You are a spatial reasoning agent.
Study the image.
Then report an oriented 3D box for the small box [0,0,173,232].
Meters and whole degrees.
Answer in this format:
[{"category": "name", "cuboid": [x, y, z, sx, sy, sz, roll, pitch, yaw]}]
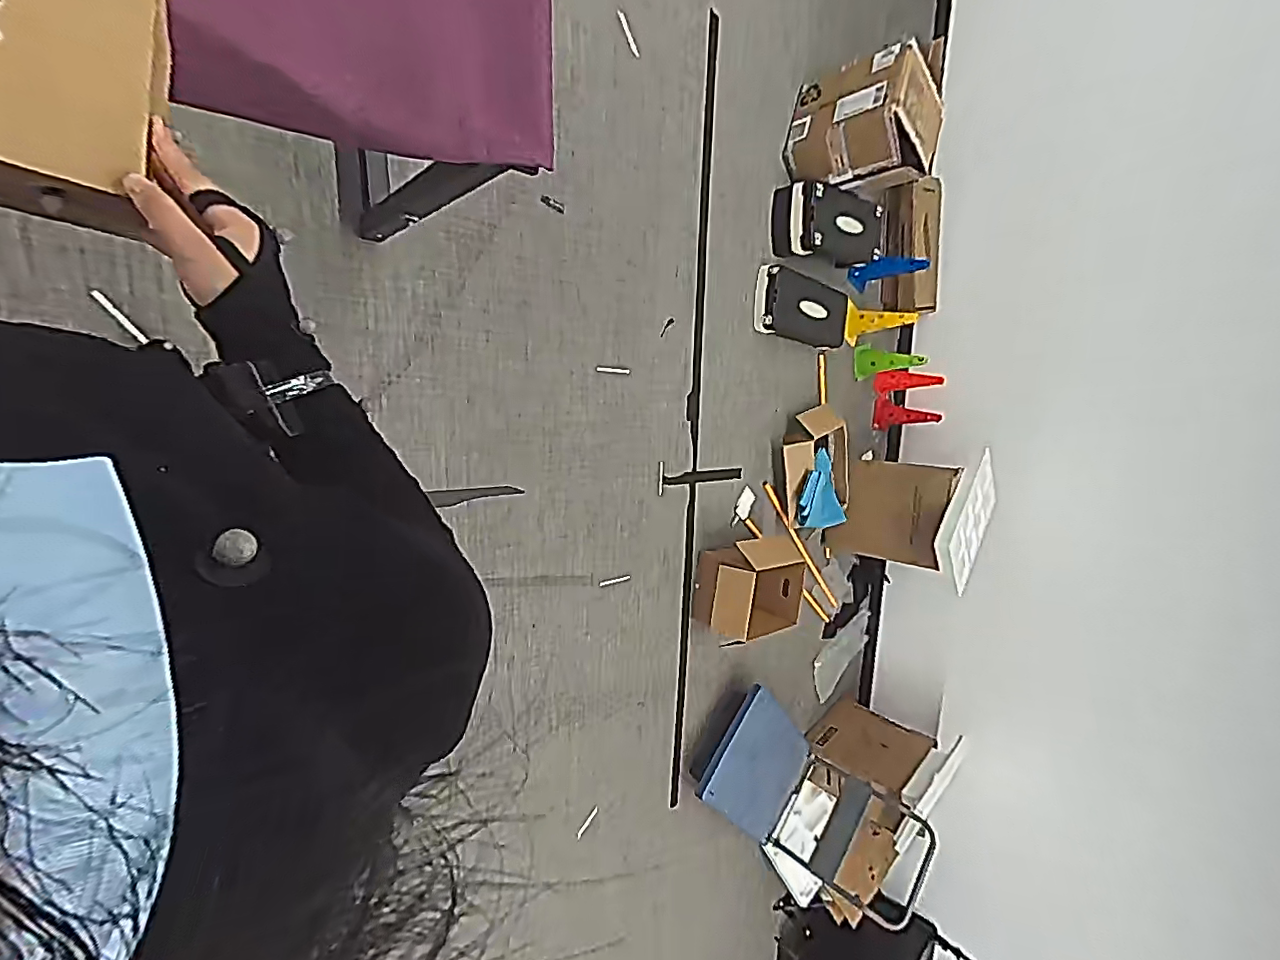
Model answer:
[{"category": "small box", "cuboid": [-0.441, -0.288, 0.371, 0.179, 0.176, 0.168, 4, 96, -40]}]
